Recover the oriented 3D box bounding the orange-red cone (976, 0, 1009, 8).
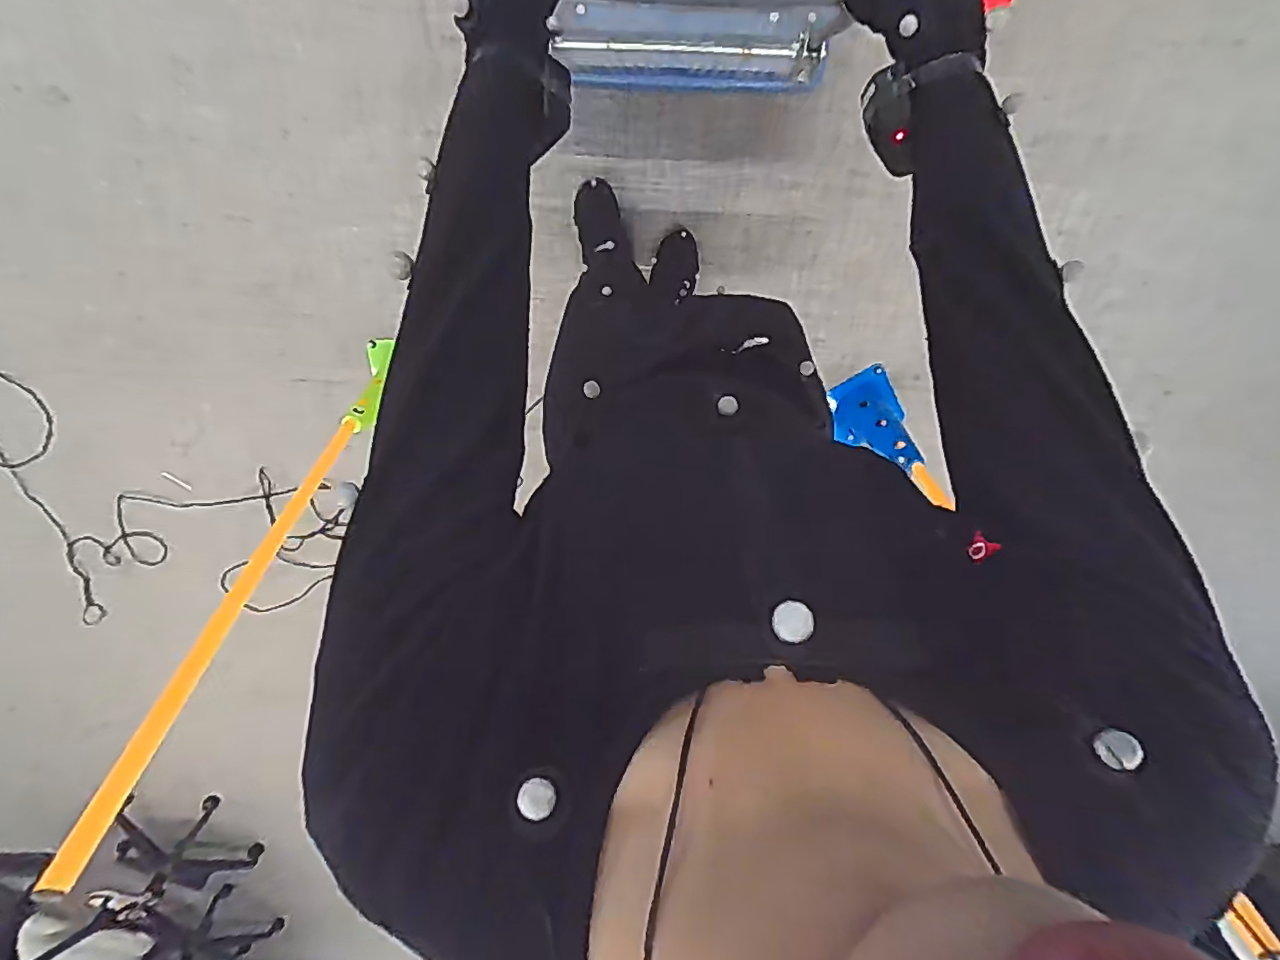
[{"bbox_3d":[0.676,-0.980,0.898,0.198,0.360,0.199,13,118,-6],"label":"orange-red cone"}]
